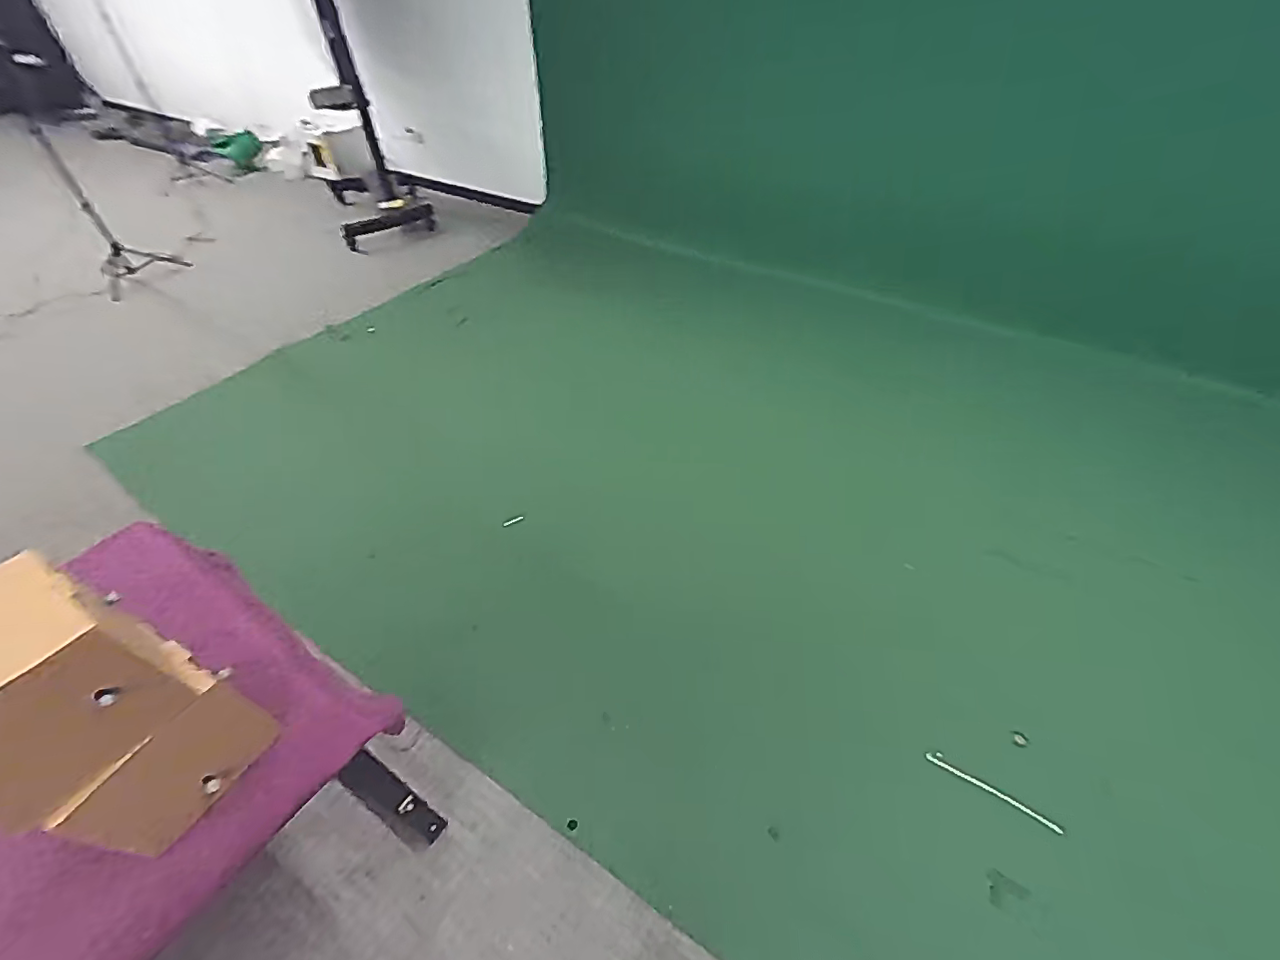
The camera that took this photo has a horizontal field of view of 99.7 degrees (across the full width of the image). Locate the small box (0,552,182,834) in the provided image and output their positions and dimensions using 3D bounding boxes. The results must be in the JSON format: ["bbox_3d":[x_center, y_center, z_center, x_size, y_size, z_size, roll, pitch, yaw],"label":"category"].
[{"bbox_3d":[-0.624,0.214,0.551,0.168,0.176,0.179,27,52,24],"label":"small box"}]

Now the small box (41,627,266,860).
[{"bbox_3d":[-0.611,0.325,0.672,0.168,0.176,0.179,21,49,20],"label":"small box"}]
